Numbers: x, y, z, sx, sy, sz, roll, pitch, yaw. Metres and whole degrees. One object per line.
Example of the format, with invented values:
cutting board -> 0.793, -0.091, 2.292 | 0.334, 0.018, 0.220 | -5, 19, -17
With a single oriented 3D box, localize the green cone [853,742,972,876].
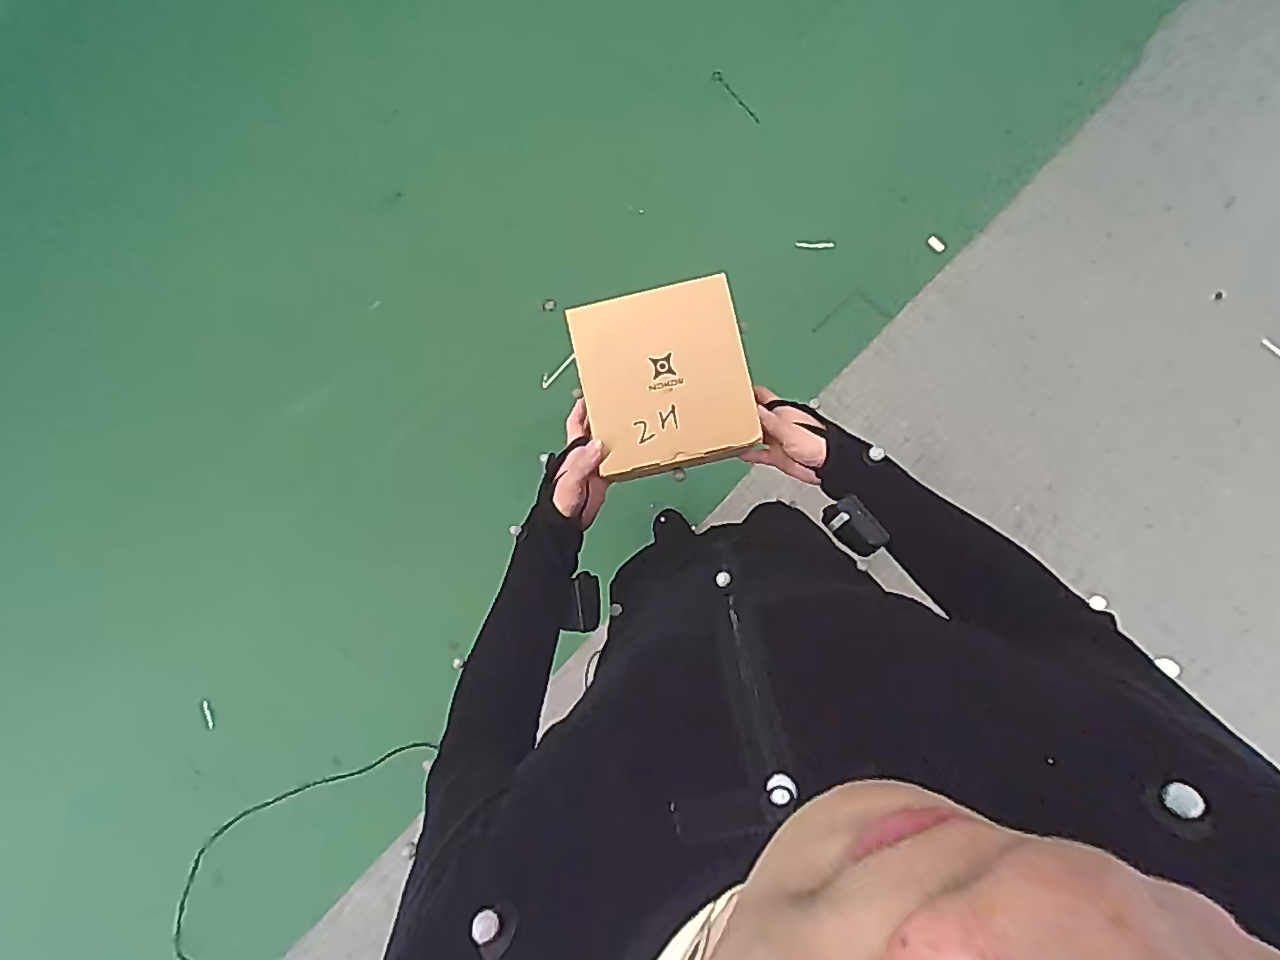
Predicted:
green cone -> 0.731, 0.869, 1.378 | 0.202, 0.368, 0.200 | -44, 84, -1
